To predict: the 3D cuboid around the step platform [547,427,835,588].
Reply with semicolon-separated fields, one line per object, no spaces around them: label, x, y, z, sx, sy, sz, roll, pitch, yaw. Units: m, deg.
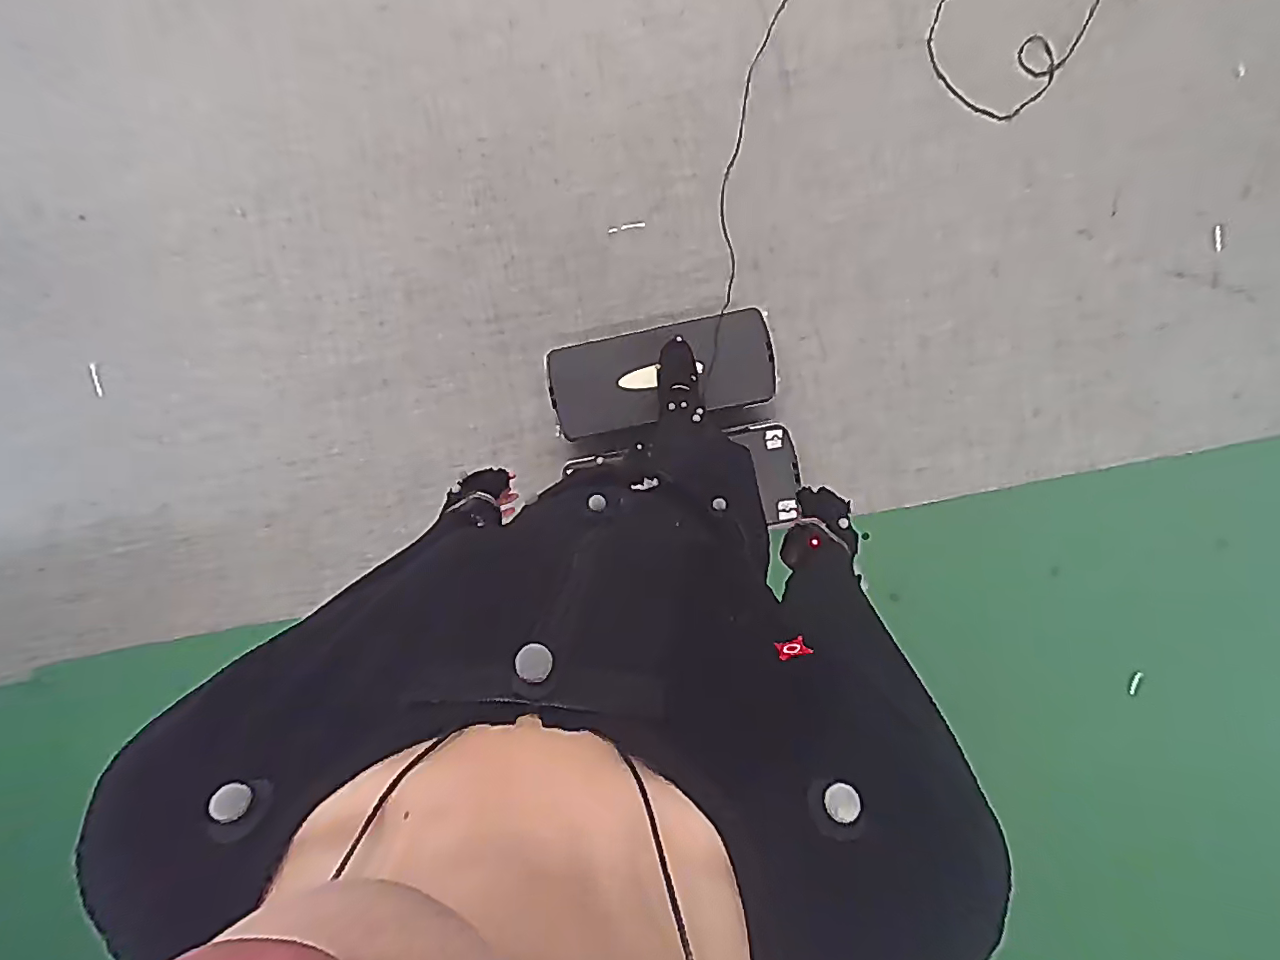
step platform;0.121;0.065;1.382;0.684;0.204;0.286;-11;94;1
